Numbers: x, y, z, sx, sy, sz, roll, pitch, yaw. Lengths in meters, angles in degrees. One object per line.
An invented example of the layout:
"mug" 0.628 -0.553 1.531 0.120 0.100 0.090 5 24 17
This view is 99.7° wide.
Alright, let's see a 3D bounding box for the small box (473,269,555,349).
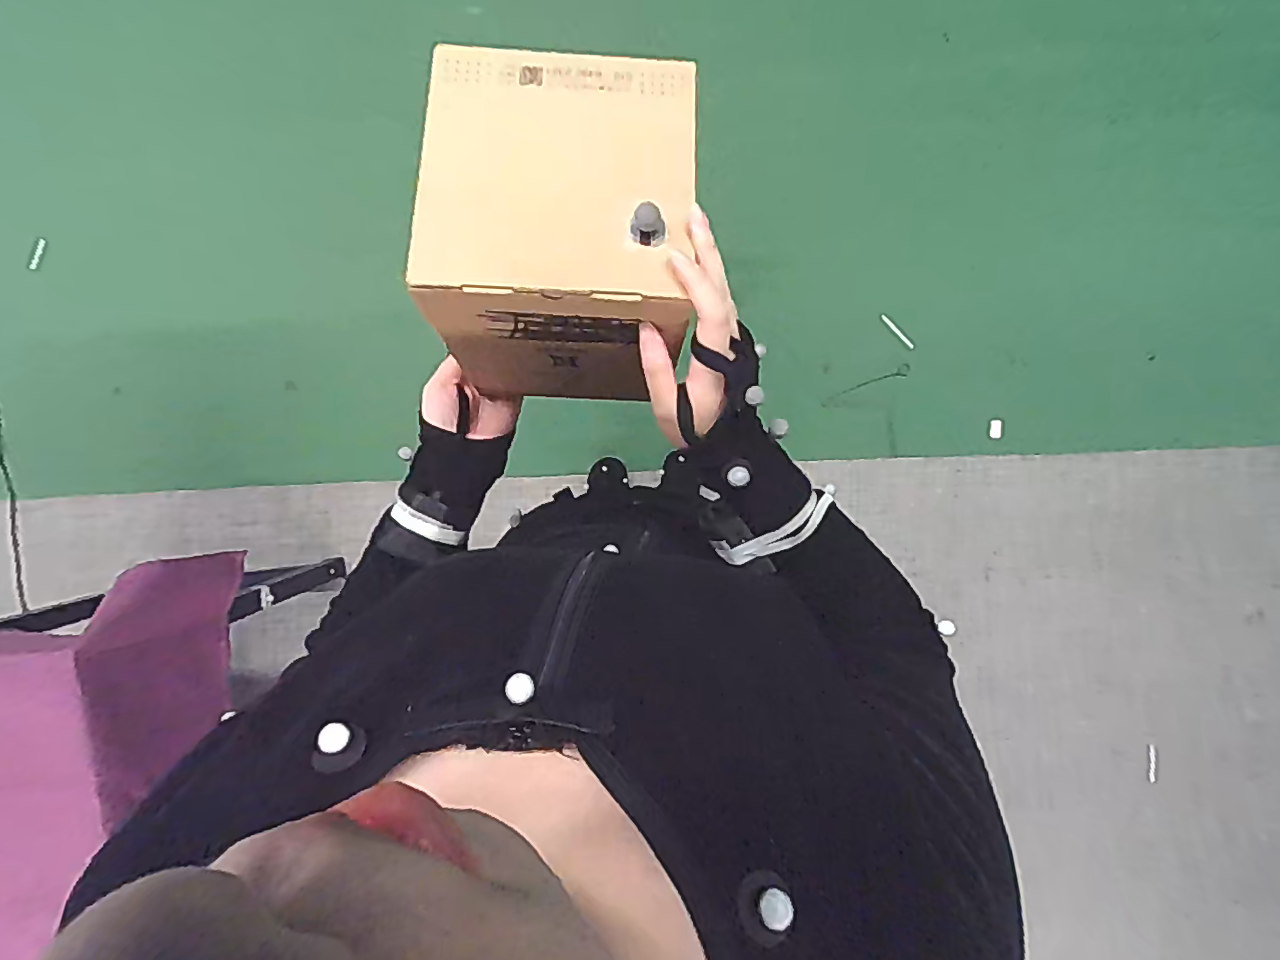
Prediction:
"small box" -0.321 -0.440 1.405 0.179 0.176 0.168 0 93 3
